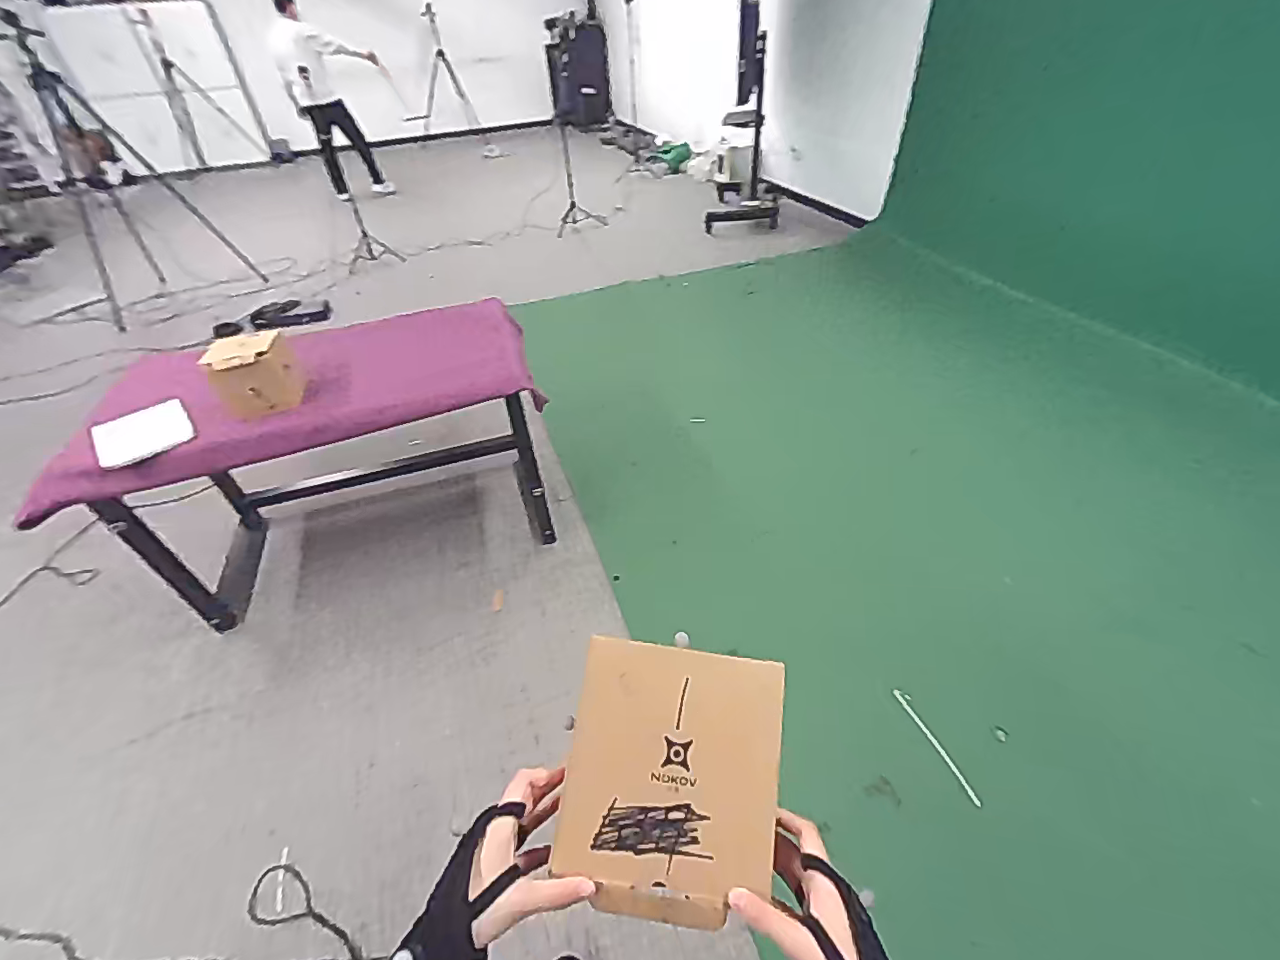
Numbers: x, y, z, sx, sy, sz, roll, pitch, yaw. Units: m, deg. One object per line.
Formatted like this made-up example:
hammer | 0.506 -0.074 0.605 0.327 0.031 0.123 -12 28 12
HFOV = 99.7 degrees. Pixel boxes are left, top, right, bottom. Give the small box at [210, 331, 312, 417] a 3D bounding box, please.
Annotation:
small box | -1.050 -0.292 1.517 0.168 0.176 0.179 -14 43 -11

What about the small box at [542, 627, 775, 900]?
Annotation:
small box | 0.017 0.243 0.505 0.168 0.176 0.179 9 72 0
